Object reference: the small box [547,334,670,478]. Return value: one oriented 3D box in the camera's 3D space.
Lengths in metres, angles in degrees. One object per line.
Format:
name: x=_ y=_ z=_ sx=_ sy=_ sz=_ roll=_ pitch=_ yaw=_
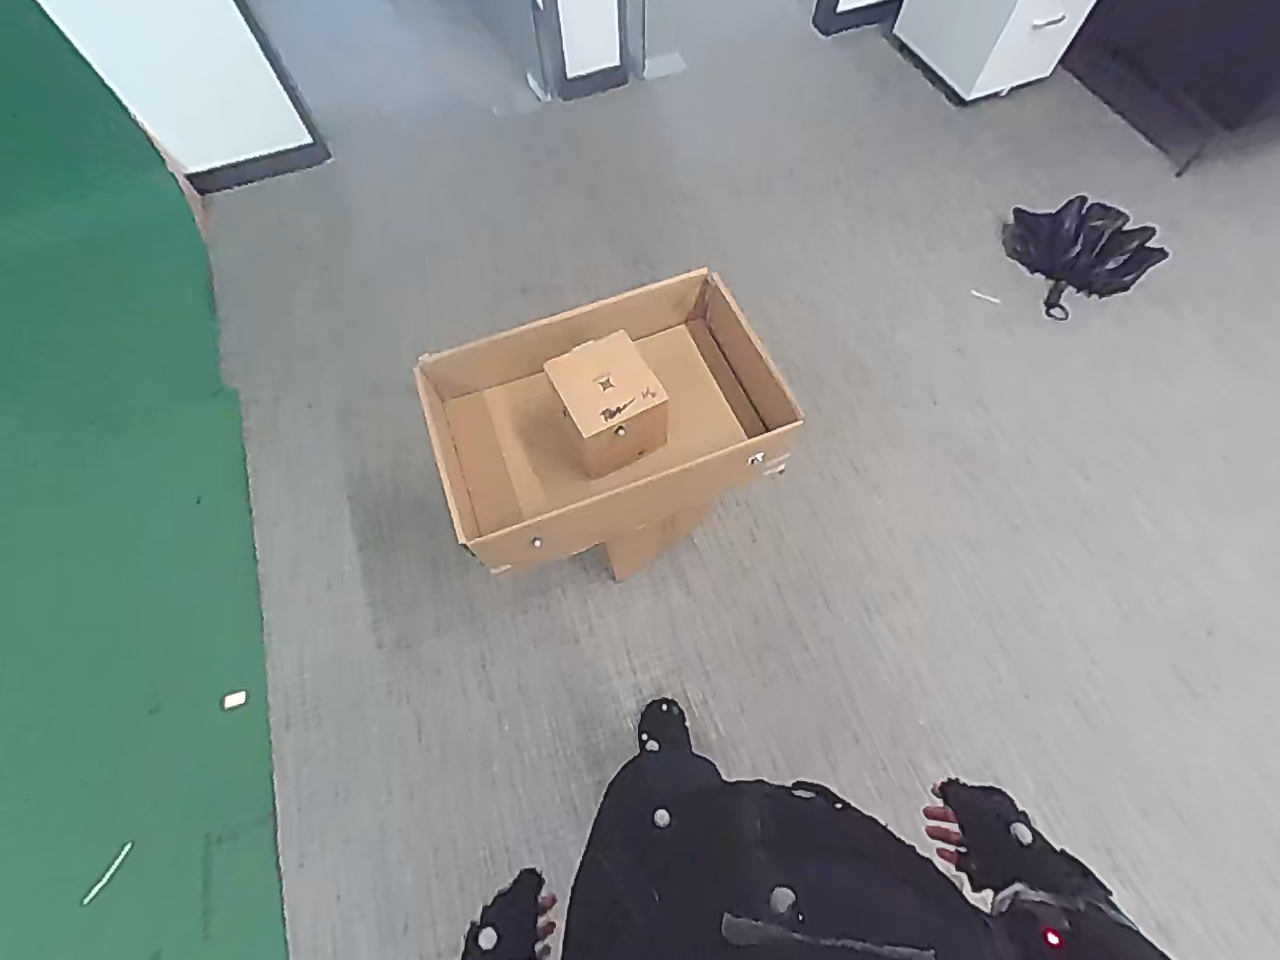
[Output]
small box: x=-0.057 y=-0.135 z=1.021 sx=0.168 sy=0.176 sz=0.179 roll=-27 pitch=66 yaw=-9
